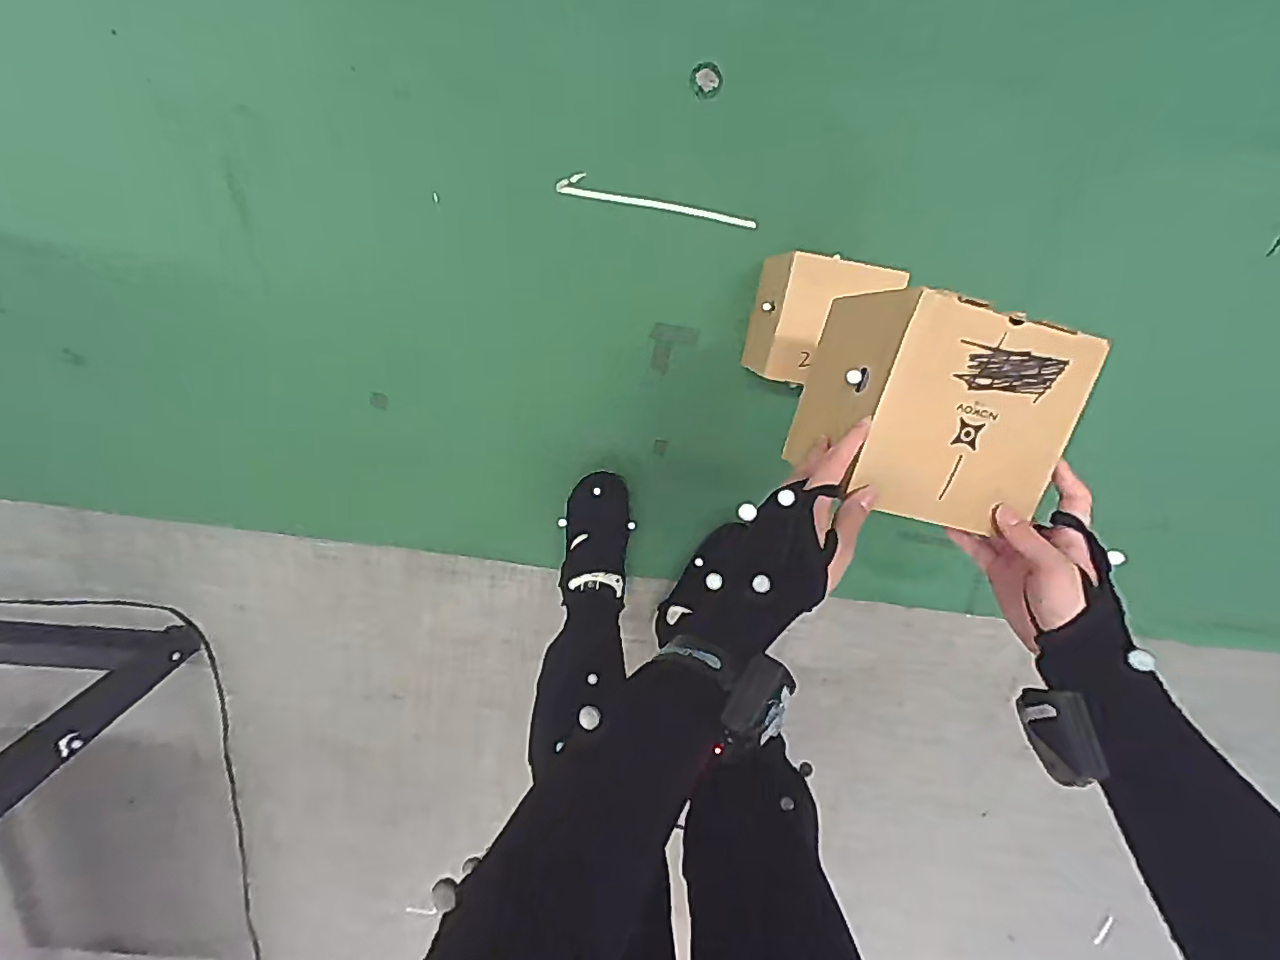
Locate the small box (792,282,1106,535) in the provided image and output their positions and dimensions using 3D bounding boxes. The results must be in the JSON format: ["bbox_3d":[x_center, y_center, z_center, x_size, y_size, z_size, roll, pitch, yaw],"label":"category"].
[{"bbox_3d":[0.266,-0.073,0.515,0.168,0.176,0.179,14,105,-7],"label":"small box"}]

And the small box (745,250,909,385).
[{"bbox_3d":[0.272,-0.240,0.835,0.168,0.176,0.179,10,108,-5],"label":"small box"}]
